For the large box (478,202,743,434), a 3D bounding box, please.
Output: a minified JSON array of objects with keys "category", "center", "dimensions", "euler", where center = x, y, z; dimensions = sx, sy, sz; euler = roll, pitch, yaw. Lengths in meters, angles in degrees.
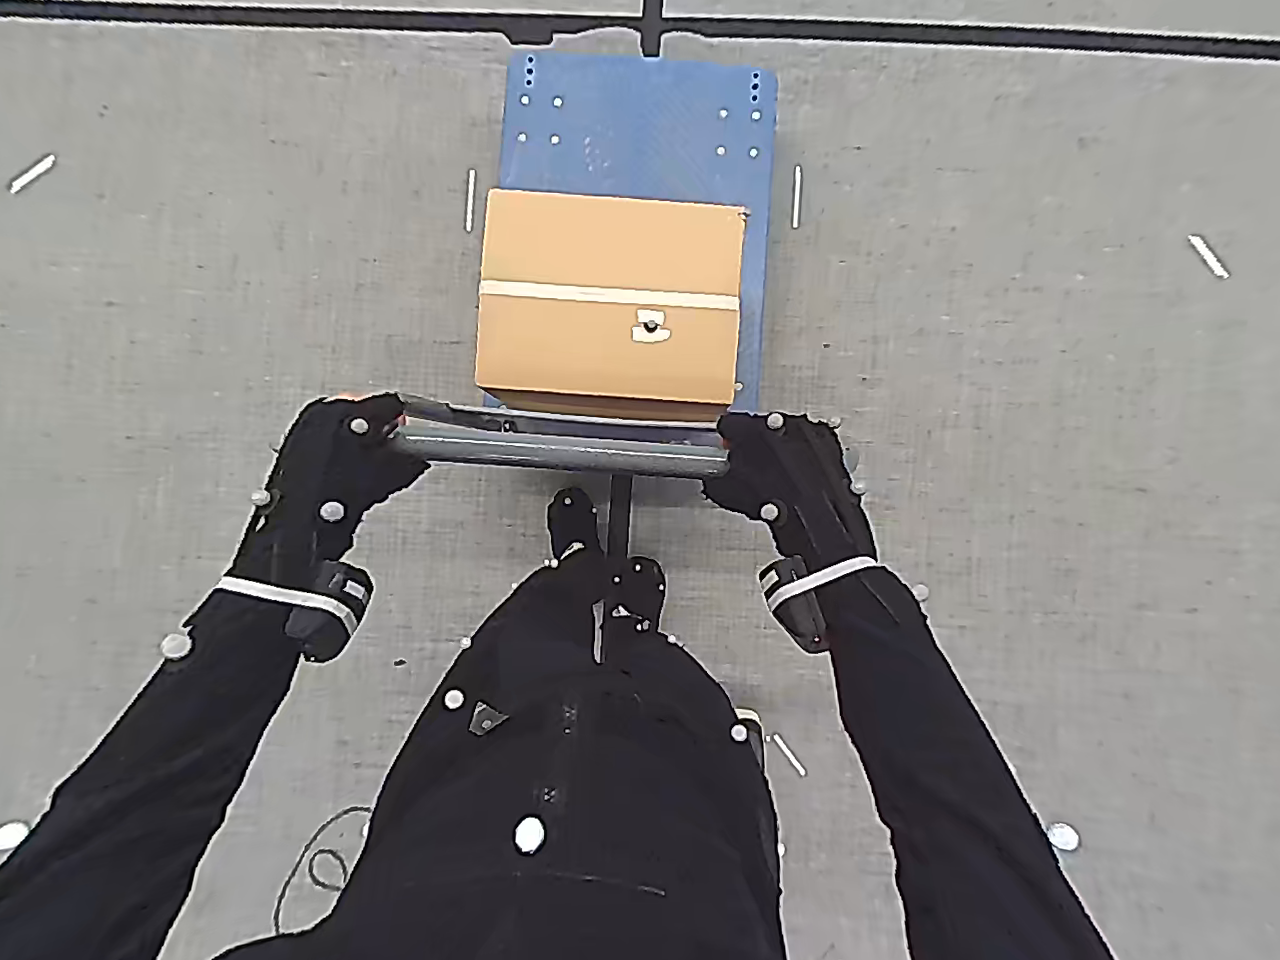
[{"category":"large box","center":[-0.049,-0.263,0.984],"dimensions":[0.408,0.320,0.320],"euler":[4,89,-1]}]
